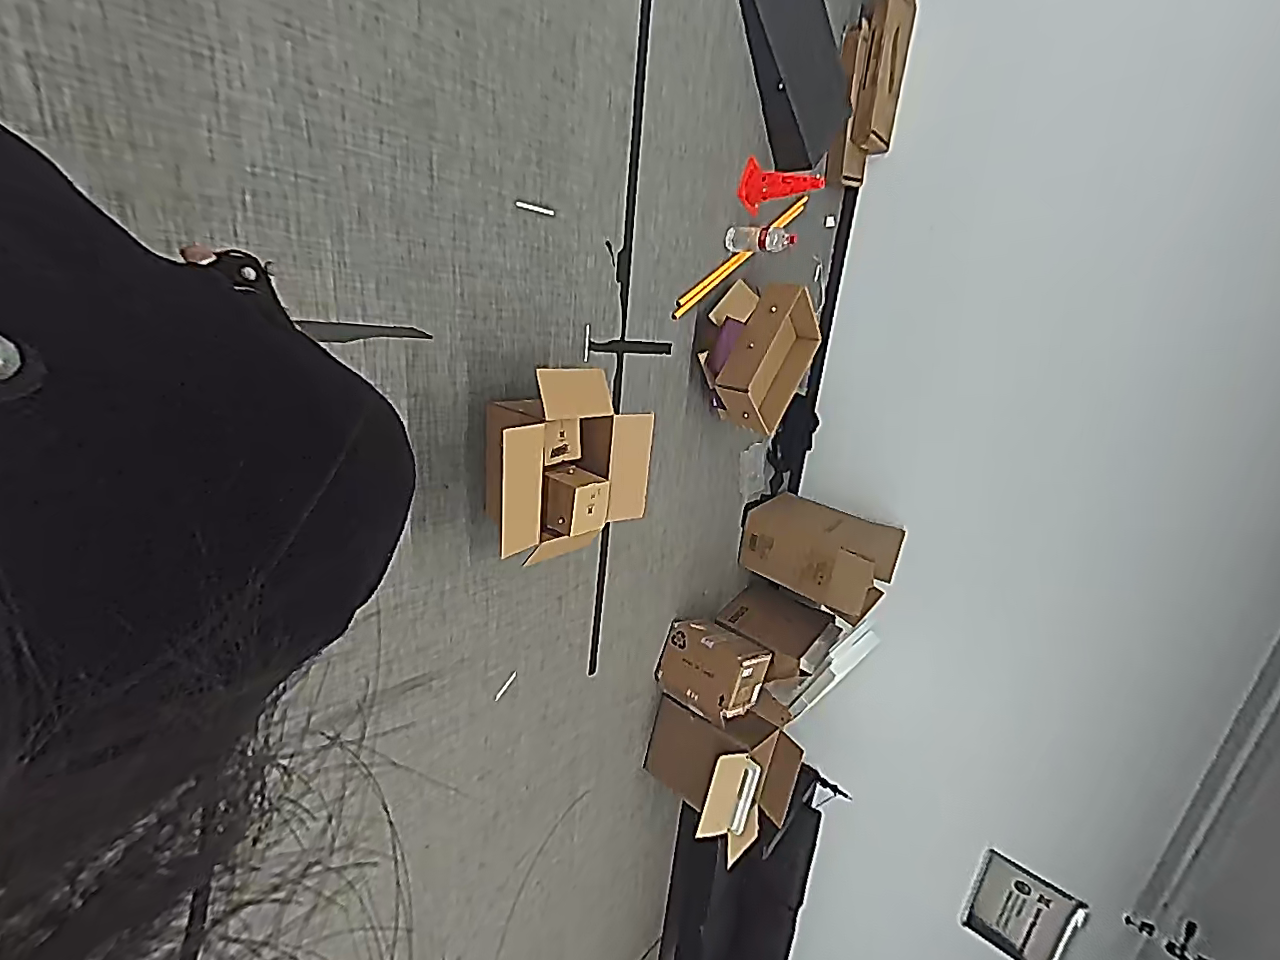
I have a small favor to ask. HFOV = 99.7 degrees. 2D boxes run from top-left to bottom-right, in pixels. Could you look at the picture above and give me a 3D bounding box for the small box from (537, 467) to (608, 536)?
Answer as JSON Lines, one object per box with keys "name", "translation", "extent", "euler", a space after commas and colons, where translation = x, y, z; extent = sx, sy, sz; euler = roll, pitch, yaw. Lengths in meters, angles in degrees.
{"name": "small box", "translation": [-0.233, 0.068, 1.838], "extent": [0.168, 0.176, 0.179], "euler": [-13, 116, -50]}
